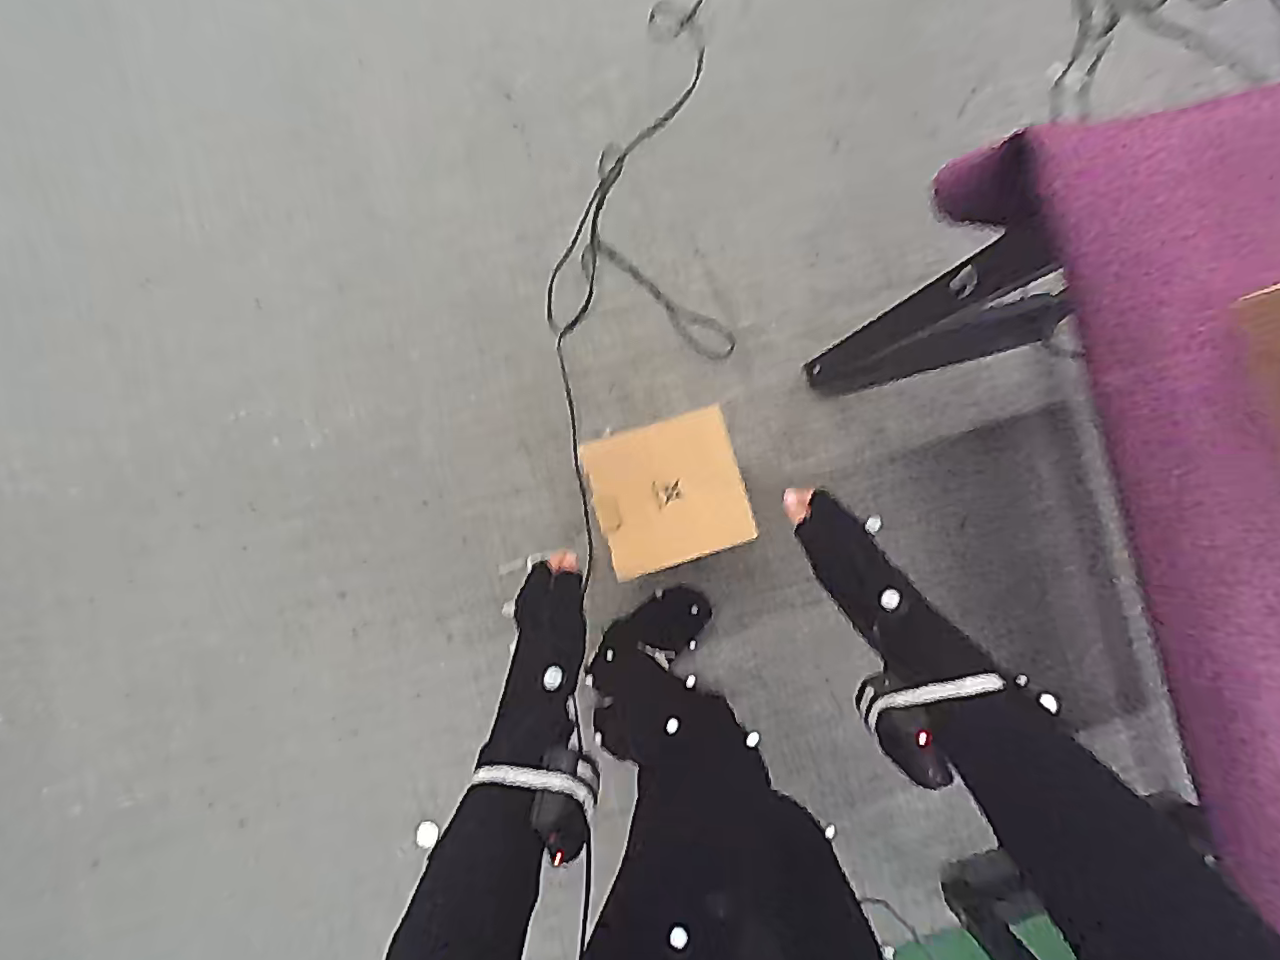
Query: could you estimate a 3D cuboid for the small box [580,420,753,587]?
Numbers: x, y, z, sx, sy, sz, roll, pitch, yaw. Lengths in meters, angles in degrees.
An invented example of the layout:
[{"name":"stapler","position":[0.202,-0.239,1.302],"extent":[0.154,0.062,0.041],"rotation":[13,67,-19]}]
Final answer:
[{"name":"small box","position":[0.029,0.027,0.721],"extent":[0.179,0.176,0.168],"rotation":[-16,89,-1]}]
